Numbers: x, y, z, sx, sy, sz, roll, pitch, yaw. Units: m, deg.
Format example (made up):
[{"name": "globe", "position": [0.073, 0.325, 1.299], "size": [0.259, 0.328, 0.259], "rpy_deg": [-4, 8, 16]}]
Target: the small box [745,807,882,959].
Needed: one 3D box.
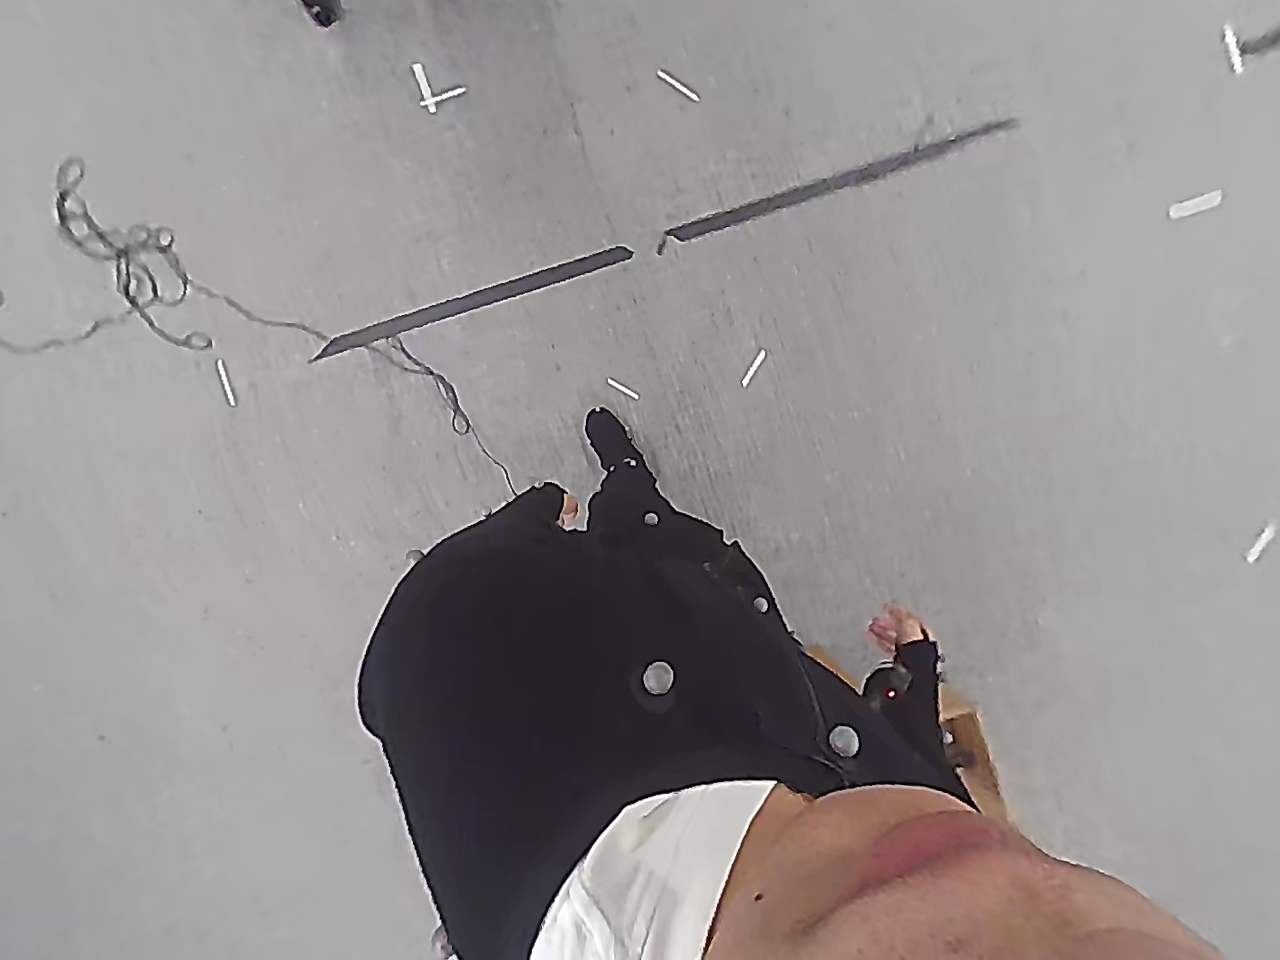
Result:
[{"name": "small box", "position": [0.310, 0.755, 0.998], "size": [0.168, 0.176, 0.179], "rpy_deg": [-21, 91, 1]}]

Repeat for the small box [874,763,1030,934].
[{"name": "small box", "position": [0.563, 0.665, 0.995], "size": [0.168, 0.176, 0.179], "rpy_deg": [-18, 93, 1]}]
